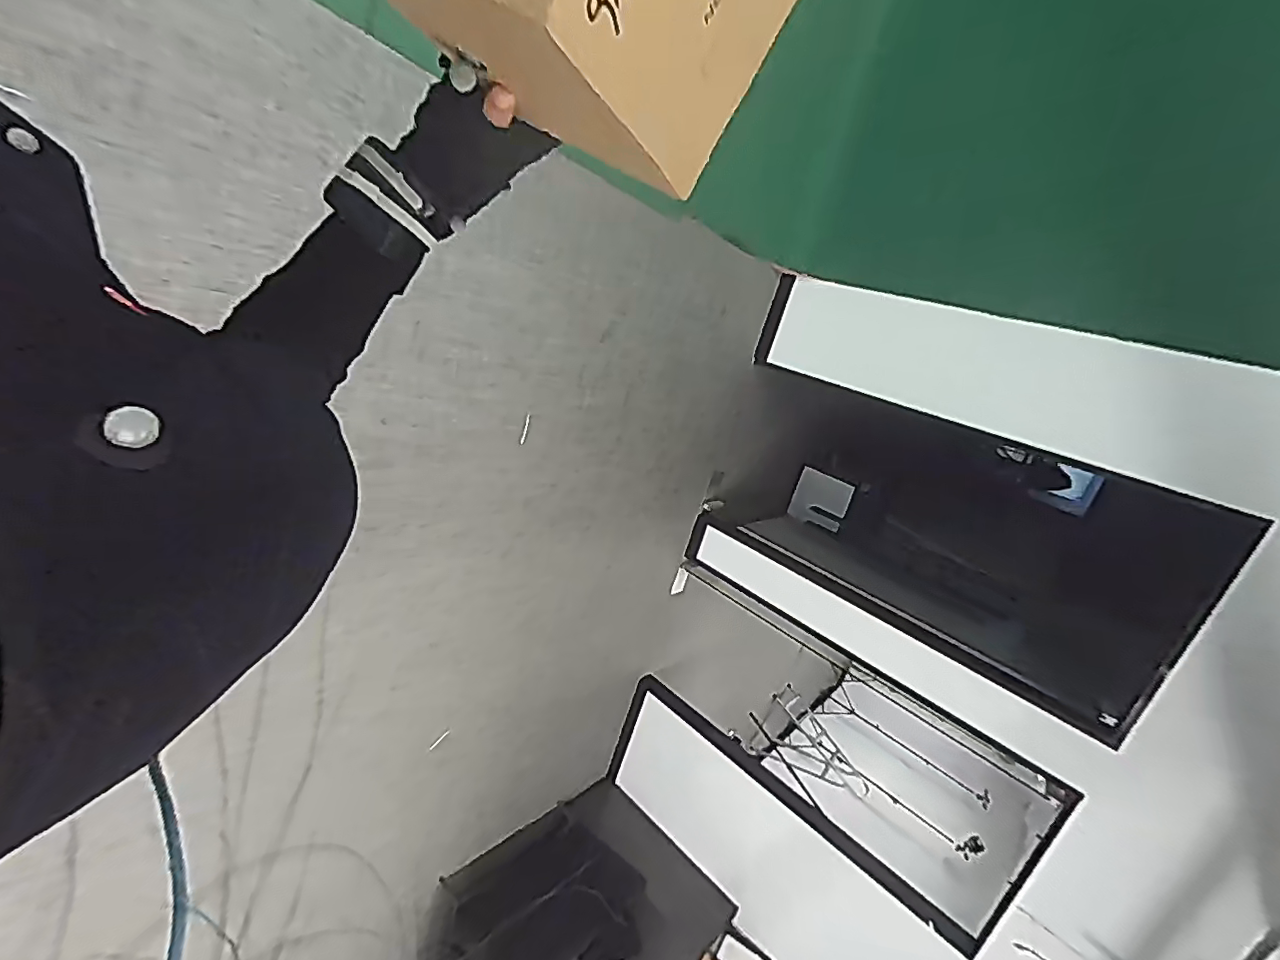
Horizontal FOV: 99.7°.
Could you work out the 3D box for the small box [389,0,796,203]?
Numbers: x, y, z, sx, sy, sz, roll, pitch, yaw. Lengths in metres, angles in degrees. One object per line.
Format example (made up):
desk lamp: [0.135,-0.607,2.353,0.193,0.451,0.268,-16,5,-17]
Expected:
small box: [-0.025,-0.290,0.286,0.168,0.176,0.179,-60,164,16]
